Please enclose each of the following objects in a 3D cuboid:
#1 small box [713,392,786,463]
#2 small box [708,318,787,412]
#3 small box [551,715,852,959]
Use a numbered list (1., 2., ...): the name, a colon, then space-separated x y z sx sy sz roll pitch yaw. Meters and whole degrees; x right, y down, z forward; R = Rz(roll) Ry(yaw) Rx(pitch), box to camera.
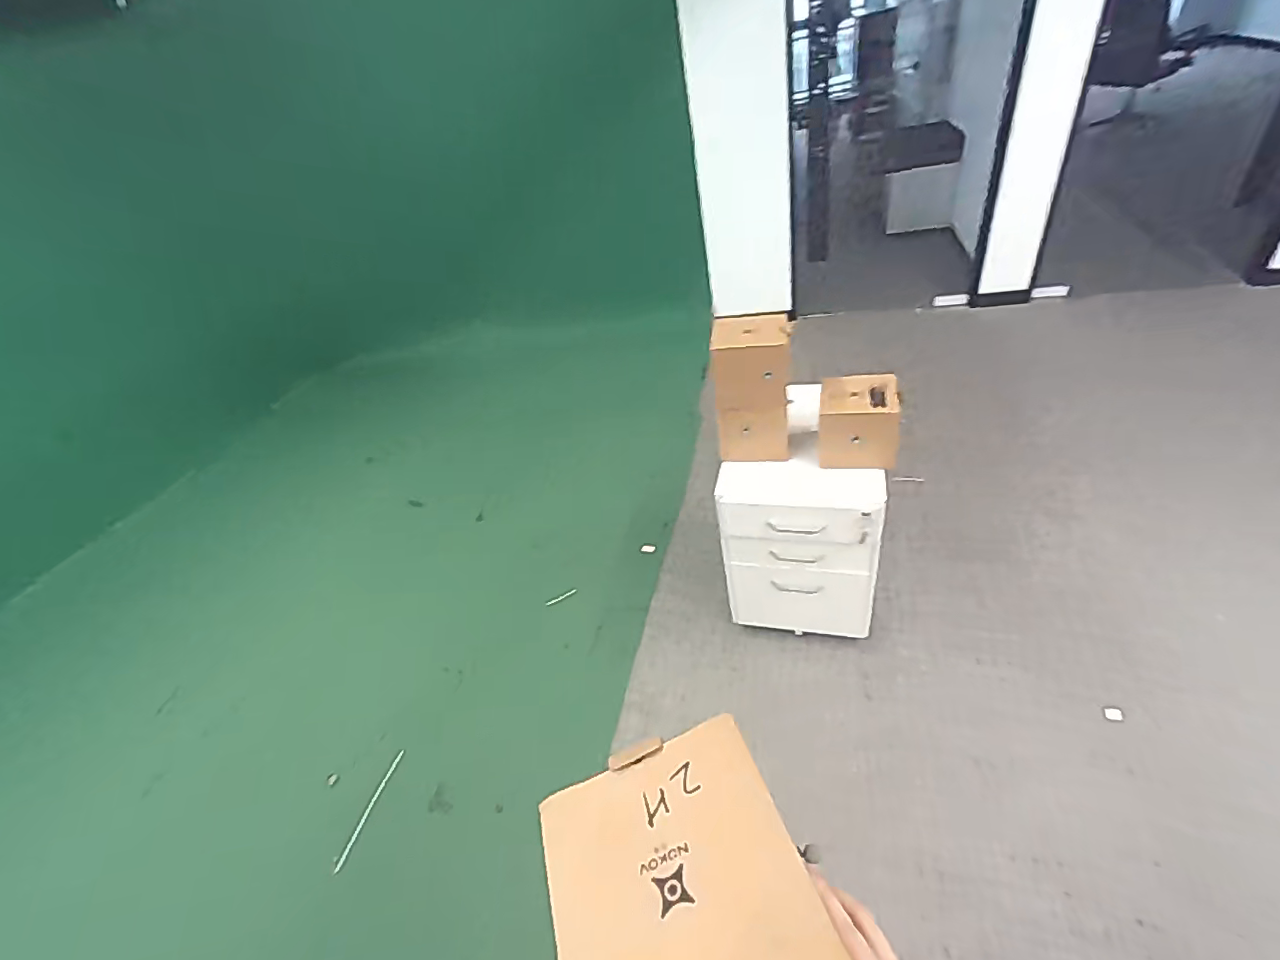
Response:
1. small box: 0.296 -0.156 1.432 0.179 0.176 0.168 0 41 15
2. small box: 0.268 -0.281 1.331 0.179 0.176 0.168 -1 40 14
3. small box: 0.050 0.322 0.402 0.168 0.176 0.179 -23 34 -3
